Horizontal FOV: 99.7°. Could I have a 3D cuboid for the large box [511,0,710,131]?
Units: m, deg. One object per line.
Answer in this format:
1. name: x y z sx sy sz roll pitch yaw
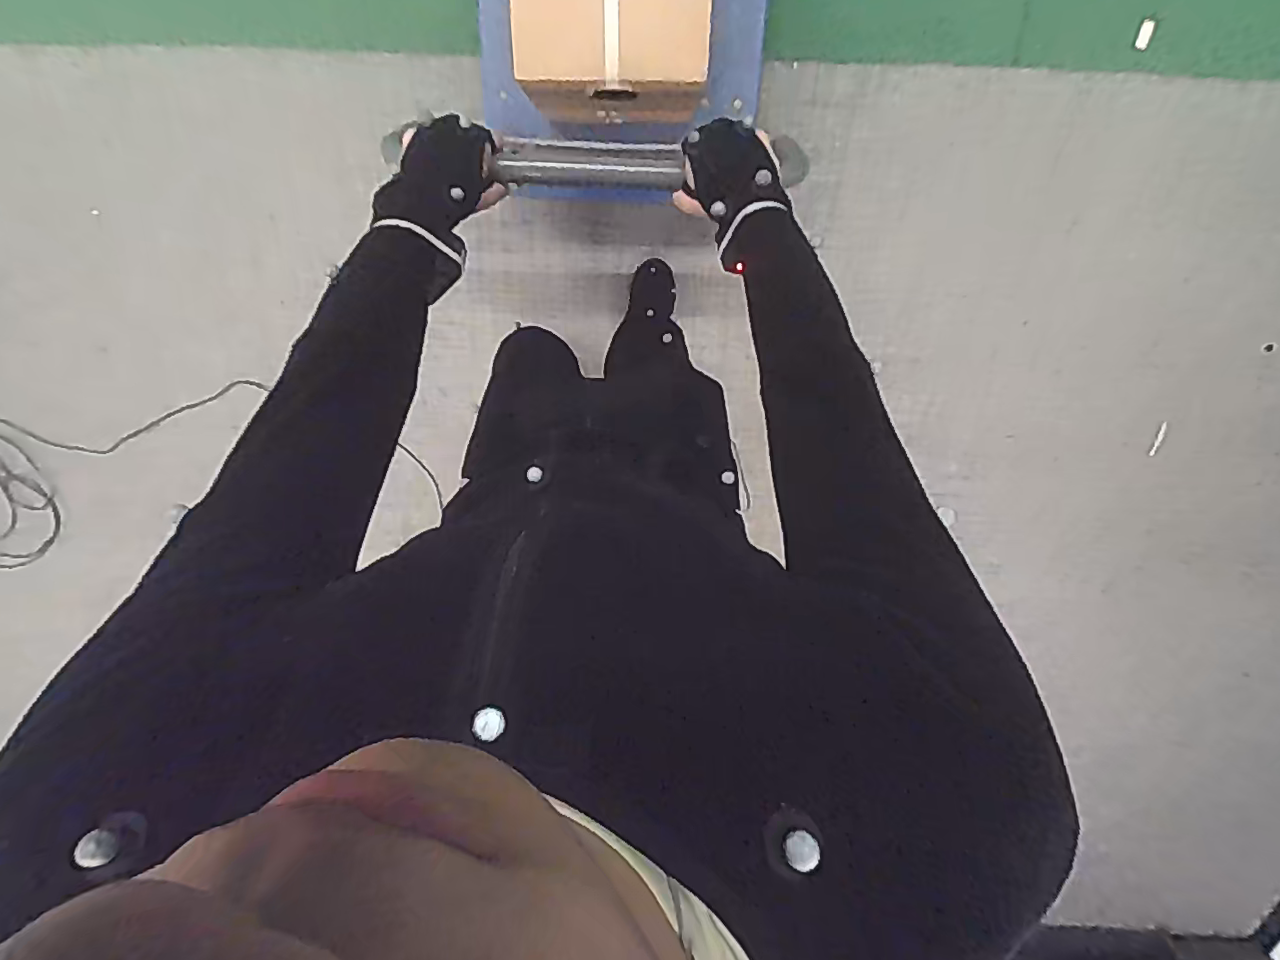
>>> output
1. large box: -0.041 -0.874 0.946 0.320 0.320 0.408 1 113 1
